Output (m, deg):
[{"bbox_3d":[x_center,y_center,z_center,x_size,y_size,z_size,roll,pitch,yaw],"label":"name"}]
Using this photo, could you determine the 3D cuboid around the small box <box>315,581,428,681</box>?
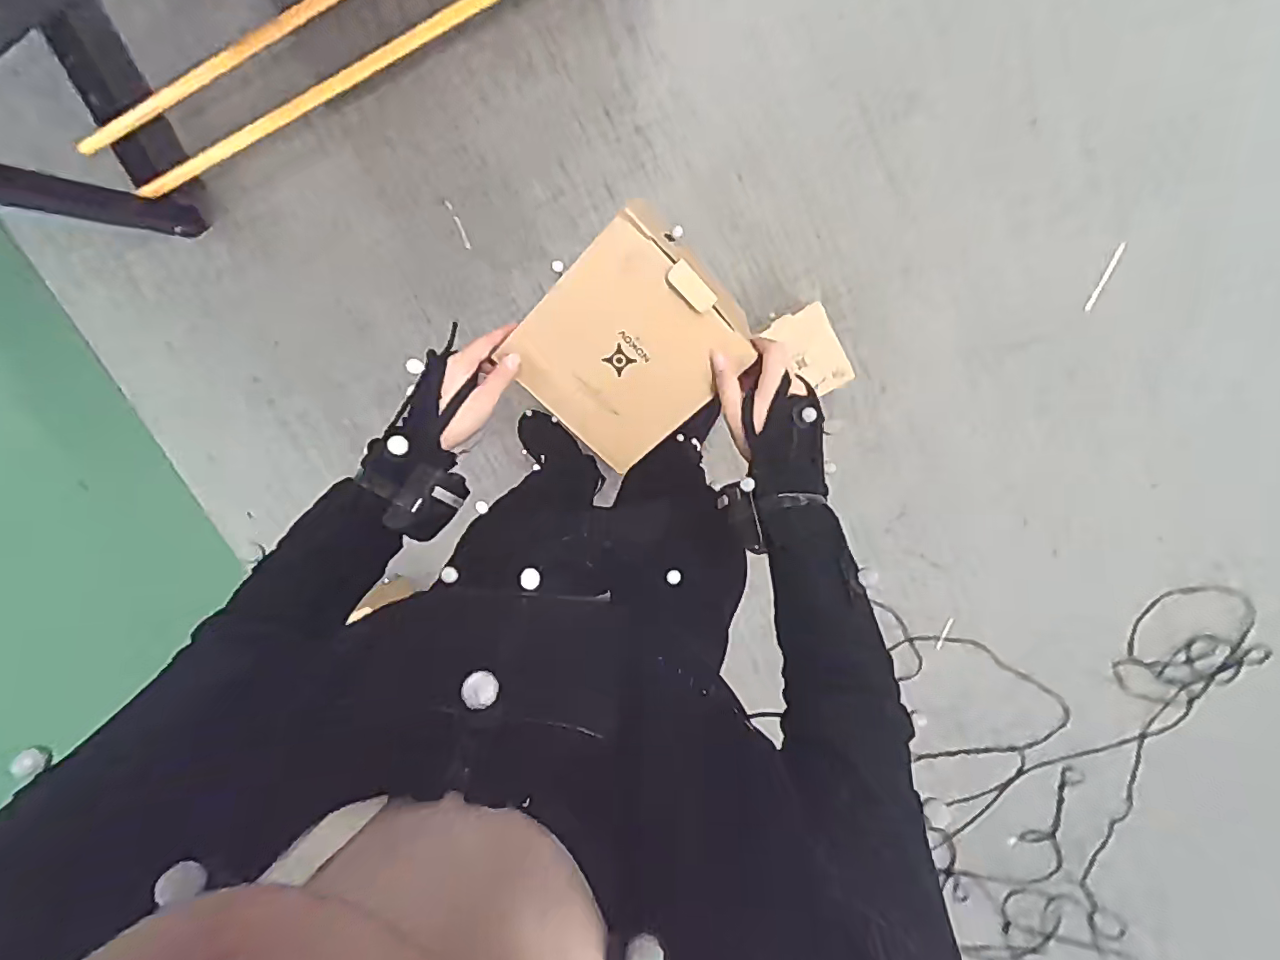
[{"bbox_3d":[-0.693,0.385,1.418,0.168,0.176,0.179,-20,104,10],"label":"small box"}]

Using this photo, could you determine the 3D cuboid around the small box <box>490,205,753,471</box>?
[{"bbox_3d":[-0.013,-0.149,0.540,0.168,0.176,0.179,43,115,-17],"label":"small box"}]

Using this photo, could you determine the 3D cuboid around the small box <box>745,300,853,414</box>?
[{"bbox_3d":[0.323,-0.263,1.161,0.168,0.176,0.179,-28,101,11],"label":"small box"}]
